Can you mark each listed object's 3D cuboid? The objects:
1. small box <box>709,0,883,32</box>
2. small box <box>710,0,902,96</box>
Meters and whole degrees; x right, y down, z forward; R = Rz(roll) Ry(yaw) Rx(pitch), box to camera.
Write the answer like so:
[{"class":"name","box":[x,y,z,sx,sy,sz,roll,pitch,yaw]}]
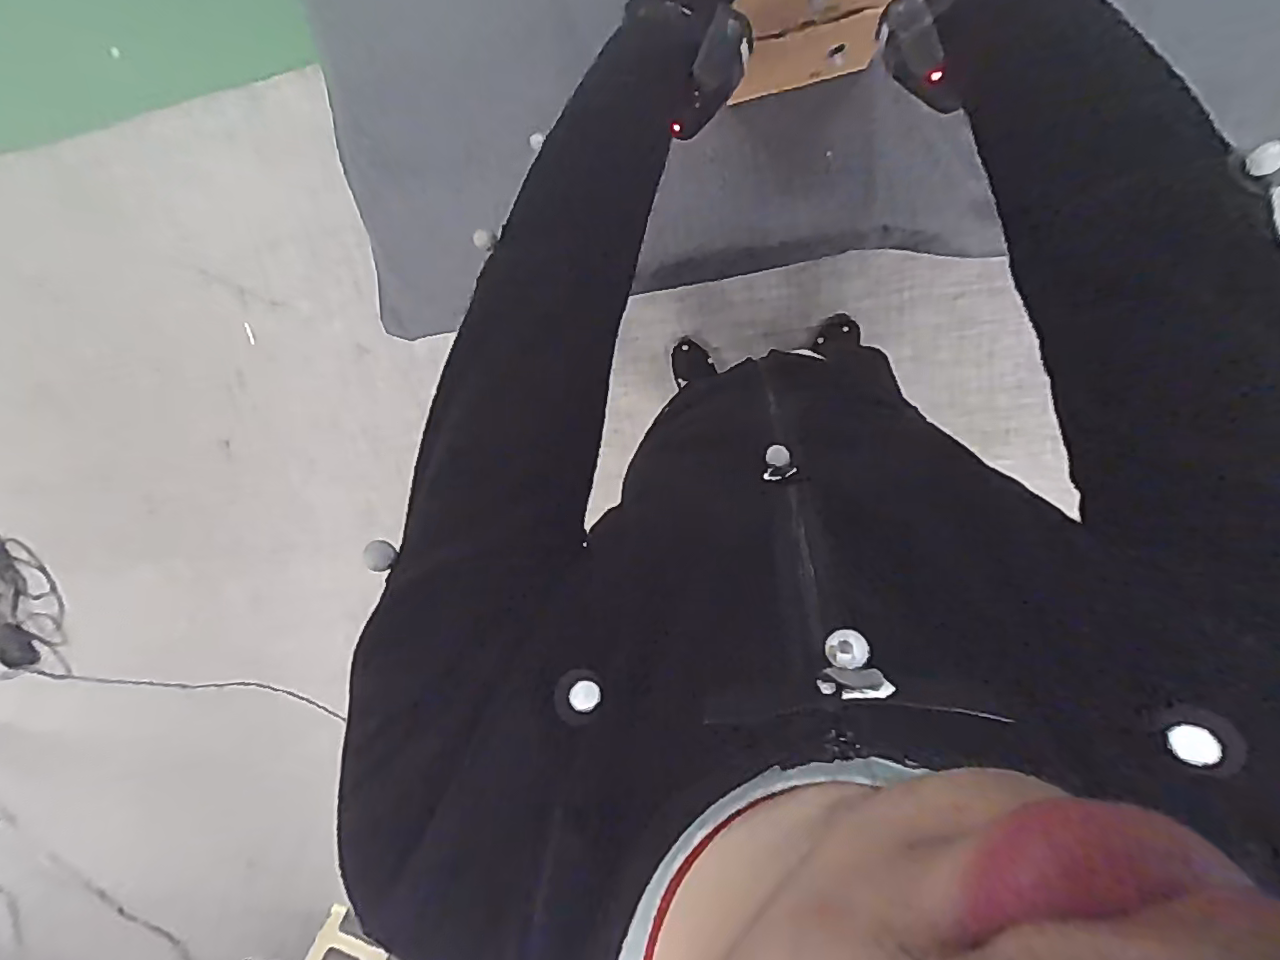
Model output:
[{"class":"small box","box":[0.128,-0.466,0.393,0.168,0.176,0.179,-7,112,8]},{"class":"small box","box":[0.153,-0.519,0.543,0.168,0.176,0.179,-8,107,11]}]
